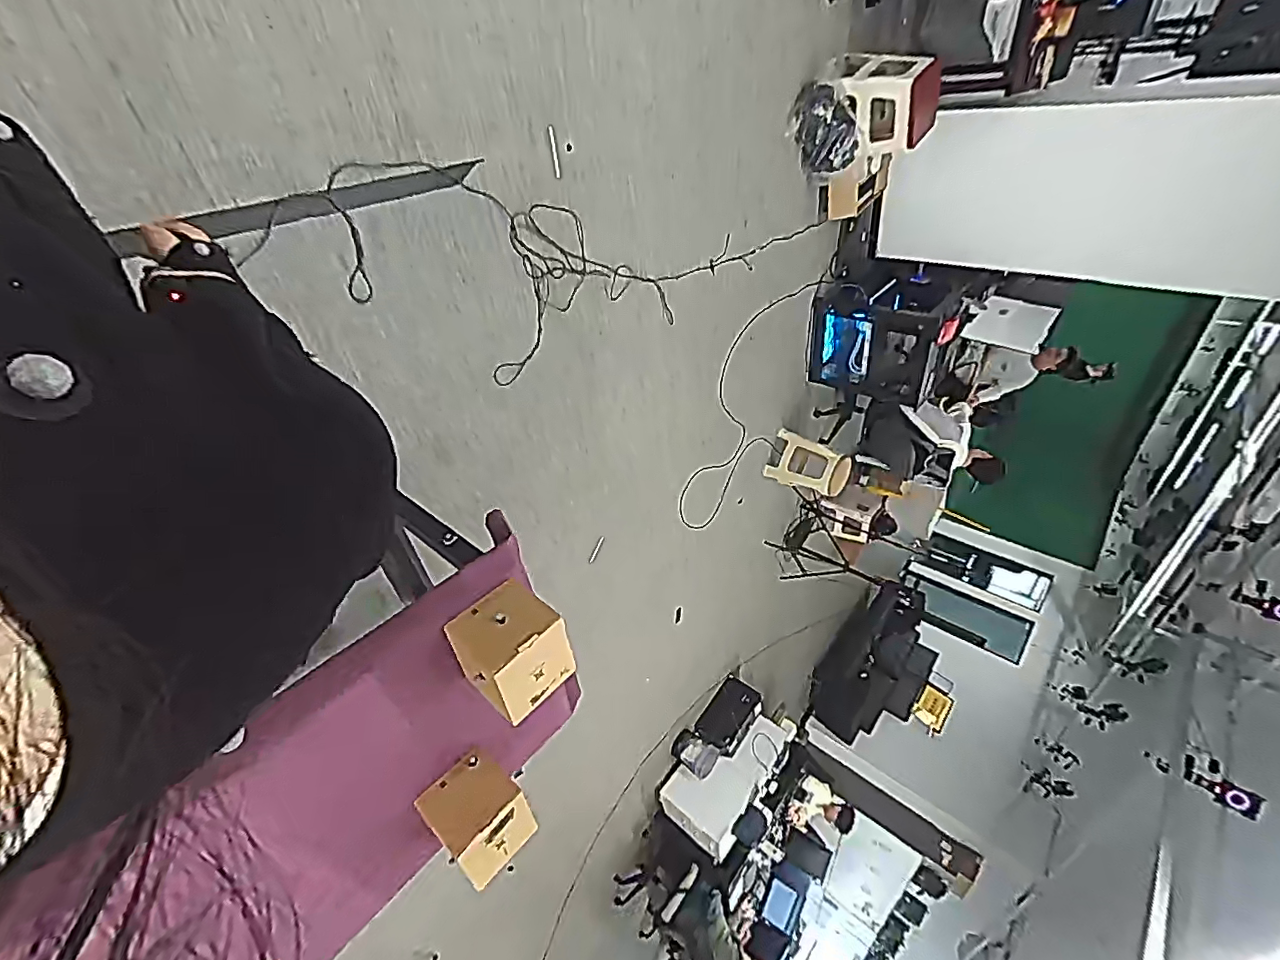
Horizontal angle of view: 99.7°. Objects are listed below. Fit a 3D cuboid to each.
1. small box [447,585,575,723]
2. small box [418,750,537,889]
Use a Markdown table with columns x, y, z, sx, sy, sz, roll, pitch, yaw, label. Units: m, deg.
| x | y | z | sx | sy | sz | roll | pitch | yaw | label |
| --- | --- | --- | --- | --- | --- | --- | --- | --- | --- |
| -0.257 | 0.335 | 1.083 | 0.168 | 0.176 | 0.179 | -36 | 135 | -34 | small box |
| -0.356 | 0.734 | 1.188 | 0.168 | 0.176 | 0.179 | -36 | 134 | -35 | small box |
